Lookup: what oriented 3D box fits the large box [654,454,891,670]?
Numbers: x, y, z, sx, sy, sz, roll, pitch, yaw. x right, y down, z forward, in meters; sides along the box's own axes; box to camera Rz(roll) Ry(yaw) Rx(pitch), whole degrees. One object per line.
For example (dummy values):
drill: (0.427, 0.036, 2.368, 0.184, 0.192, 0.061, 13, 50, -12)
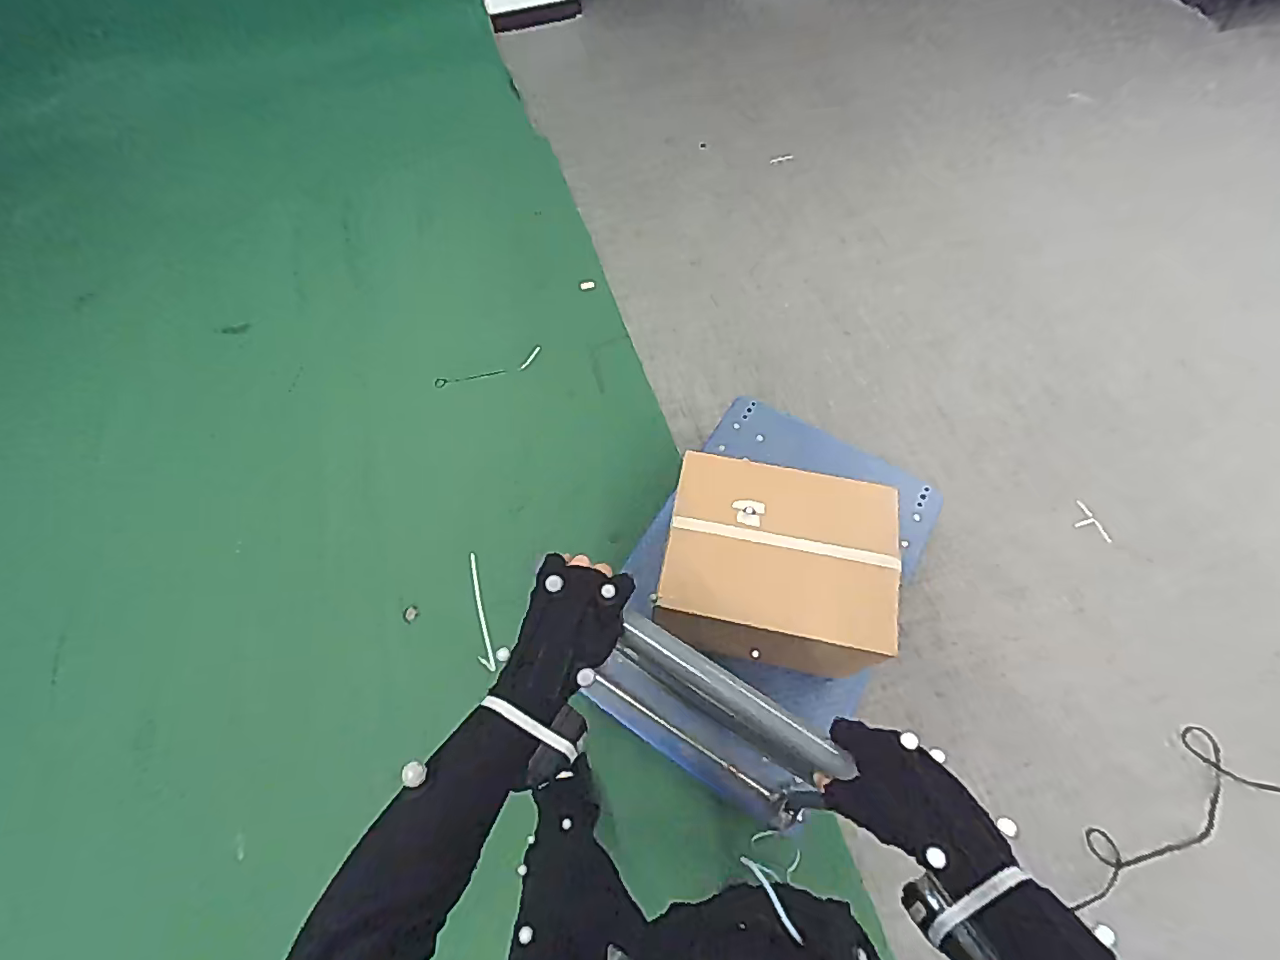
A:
large box: (0.255, 0.179, 1.109, 0.408, 0.320, 0.320, 10, 63, 7)
